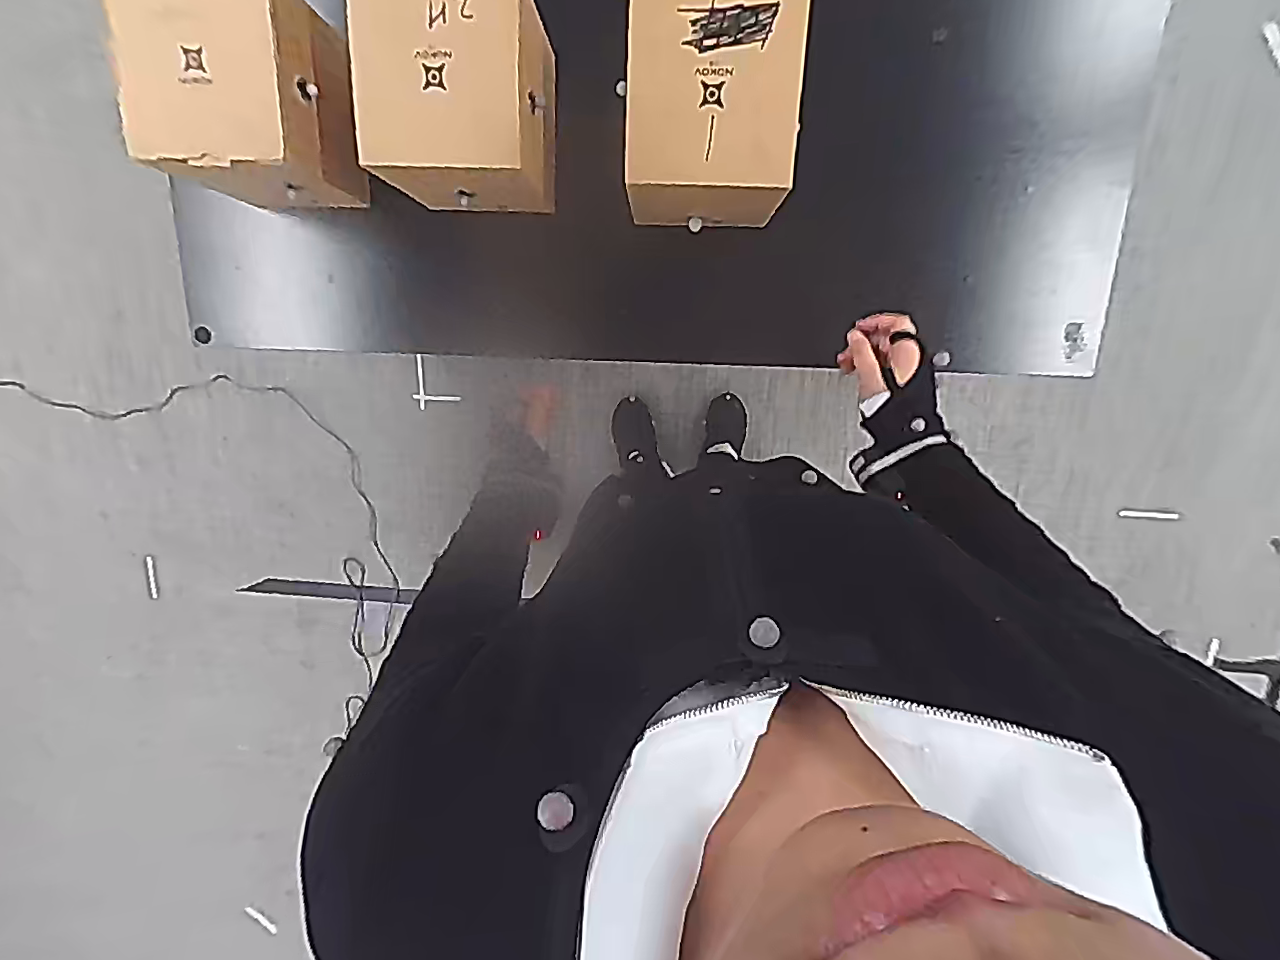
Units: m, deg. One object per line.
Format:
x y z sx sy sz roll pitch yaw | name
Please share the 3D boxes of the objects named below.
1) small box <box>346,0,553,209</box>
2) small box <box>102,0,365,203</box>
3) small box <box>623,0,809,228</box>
-0.192 -0.412 0.594 0.168 0.176 0.179 3 103 2 | small box
-0.432 -0.425 0.606 0.168 0.176 0.179 1 101 1 | small box
0.072 -0.389 0.586 0.168 0.176 0.179 3 103 2 | small box
